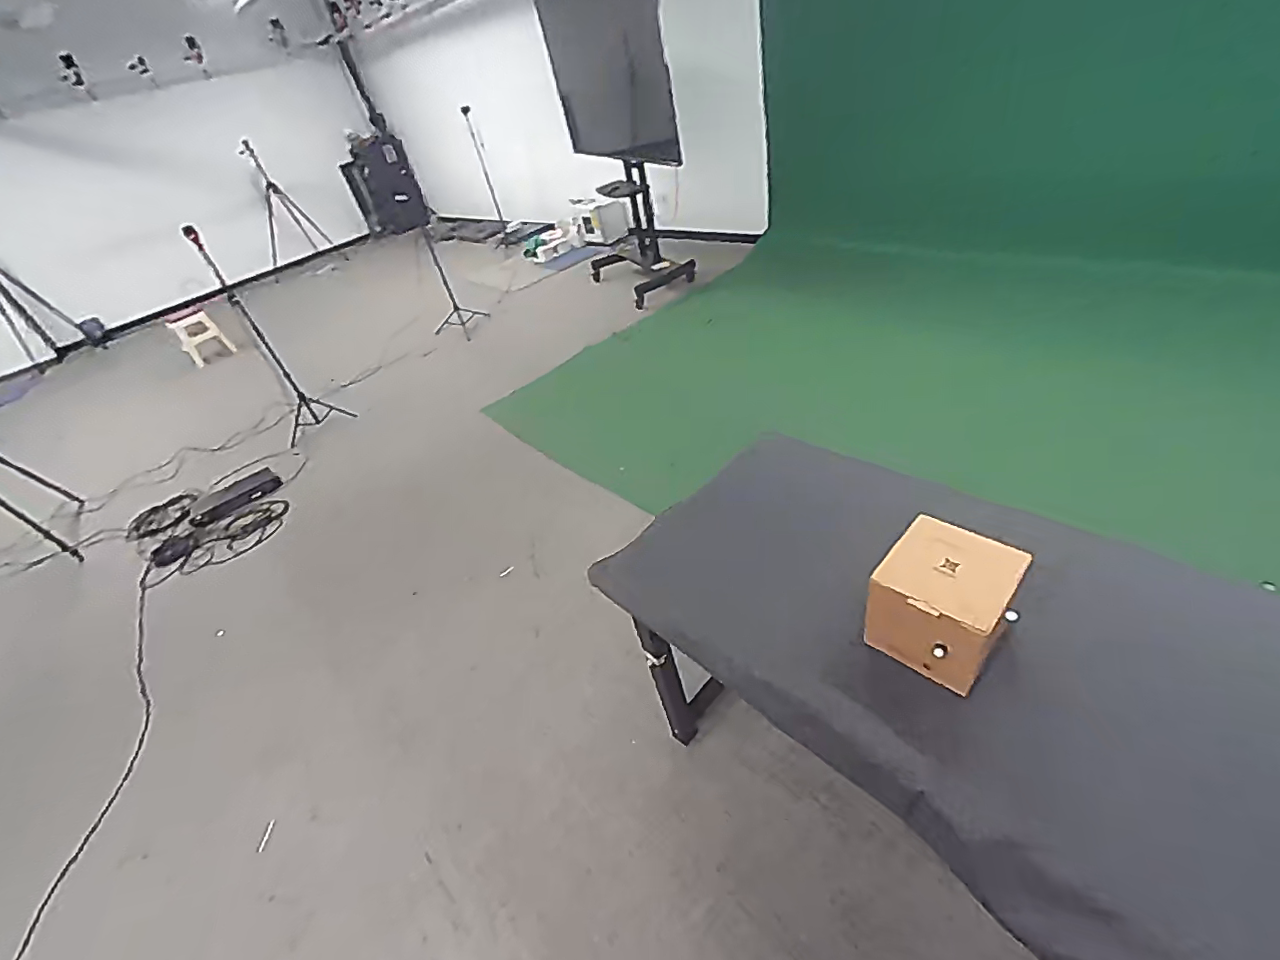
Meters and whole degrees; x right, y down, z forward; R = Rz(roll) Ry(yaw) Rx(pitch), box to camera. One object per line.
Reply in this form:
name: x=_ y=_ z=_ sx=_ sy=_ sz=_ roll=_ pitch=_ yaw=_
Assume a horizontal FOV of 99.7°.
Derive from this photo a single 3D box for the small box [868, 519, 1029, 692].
small box: x=0.484 y=0.200 z=0.870 sx=0.168 sy=0.176 sz=0.179 roll=26 pitch=52 yaw=38
